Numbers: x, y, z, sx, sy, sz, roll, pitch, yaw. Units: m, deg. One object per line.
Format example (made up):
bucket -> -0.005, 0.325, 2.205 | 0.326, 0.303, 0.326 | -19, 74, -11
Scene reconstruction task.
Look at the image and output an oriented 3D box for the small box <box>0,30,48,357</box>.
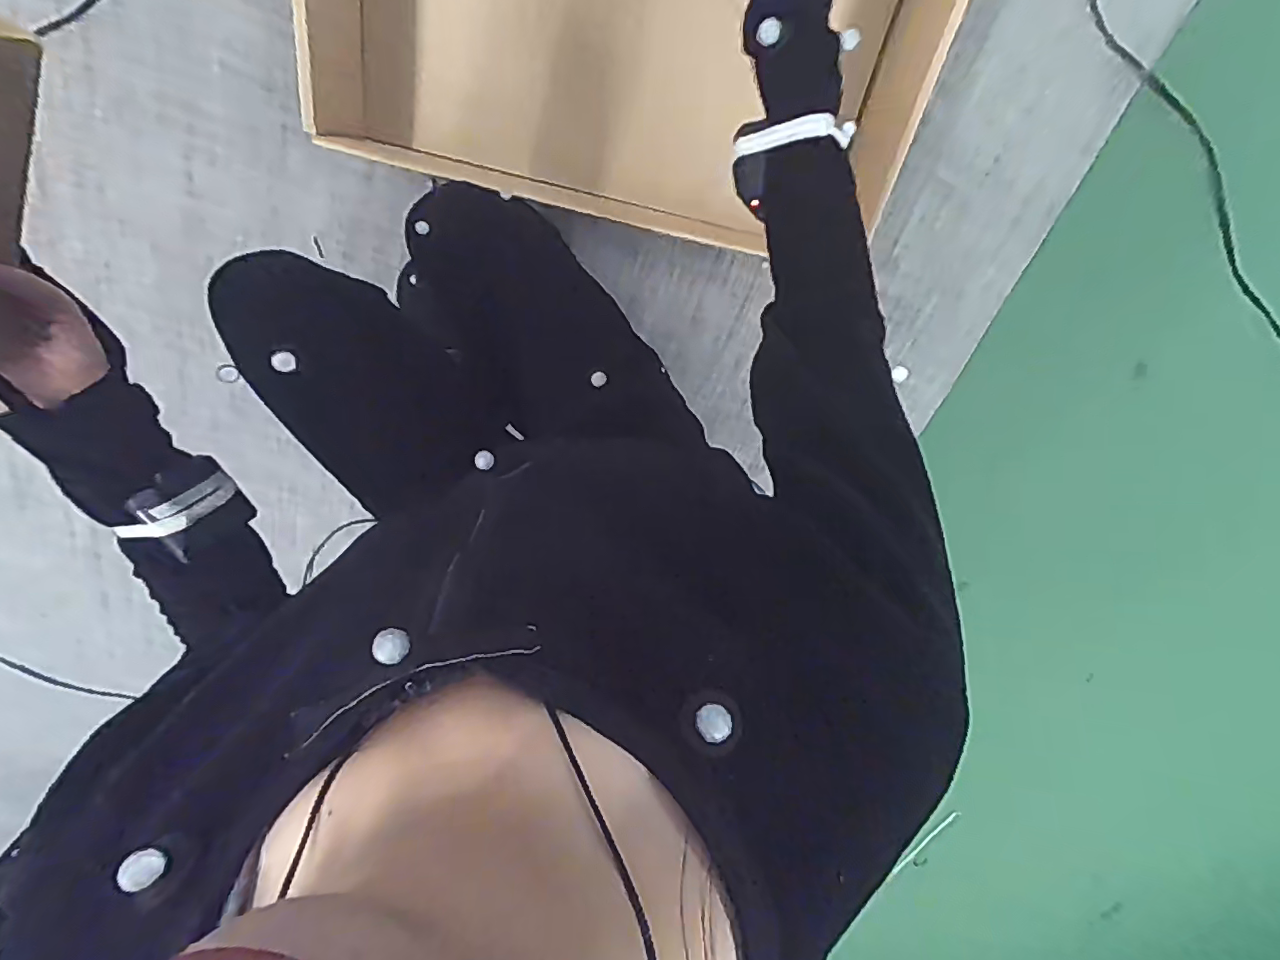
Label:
small box -> -0.372, -0.119, 0.194 | 0.168, 0.176, 0.179 | 19, 114, -32
